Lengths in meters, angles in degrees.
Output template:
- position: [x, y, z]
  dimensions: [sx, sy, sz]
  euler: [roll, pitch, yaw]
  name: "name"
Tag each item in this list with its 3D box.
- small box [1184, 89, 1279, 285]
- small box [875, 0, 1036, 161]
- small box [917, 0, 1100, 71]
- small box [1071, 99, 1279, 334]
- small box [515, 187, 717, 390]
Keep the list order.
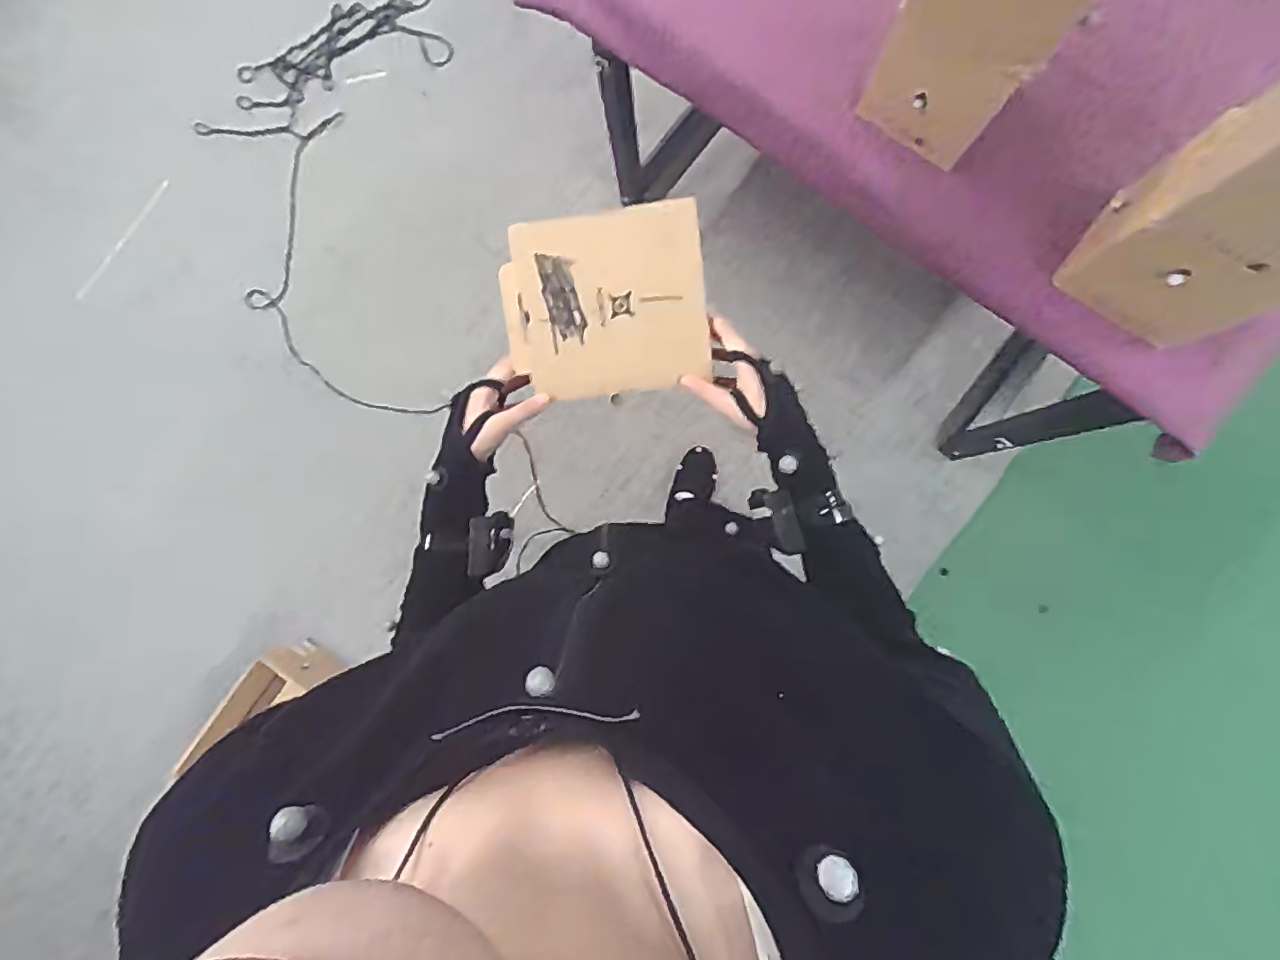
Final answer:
- position: [0.690, -0.314, 0.504]
  dimensions: [0.168, 0.176, 0.179]
  euler: [38, 91, 9]
  name: "small box"
- position: [0.439, -0.572, 0.710]
  dimensions: [0.168, 0.176, 0.179]
  euler: [39, 89, 6]
  name: "small box"
- position: [0.424, -0.576, 0.548]
  dimensions: [0.179, 0.176, 0.168]
  euler: [38, 91, 6]
  name: "small box"
- position: [0.705, -0.303, 0.667]
  dimensions: [0.179, 0.176, 0.168]
  euler: [37, 91, 8]
  name: "small box"
- position: [-0.015, -0.189, 0.582]
  dimensions: [0.179, 0.176, 0.168]
  euler: [-7, 101, 5]
  name: "small box"
